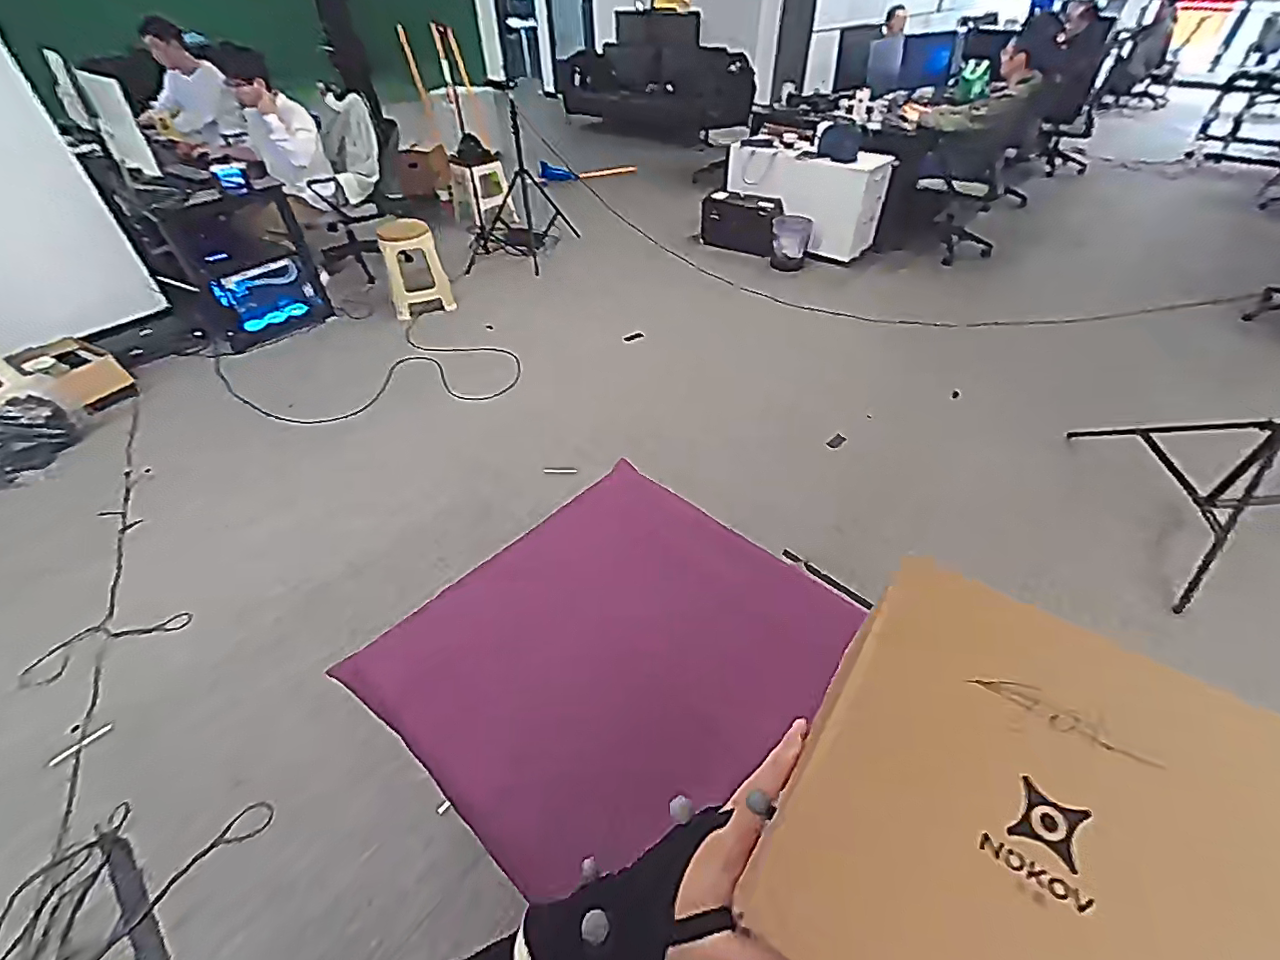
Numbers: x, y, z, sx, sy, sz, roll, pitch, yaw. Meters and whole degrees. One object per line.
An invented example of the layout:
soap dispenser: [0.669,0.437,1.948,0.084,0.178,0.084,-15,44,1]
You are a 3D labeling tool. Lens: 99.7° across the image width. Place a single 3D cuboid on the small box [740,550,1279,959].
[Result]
small box: [0.162,0.173,0.268,0.168,0.176,0.179,25,62,23]
